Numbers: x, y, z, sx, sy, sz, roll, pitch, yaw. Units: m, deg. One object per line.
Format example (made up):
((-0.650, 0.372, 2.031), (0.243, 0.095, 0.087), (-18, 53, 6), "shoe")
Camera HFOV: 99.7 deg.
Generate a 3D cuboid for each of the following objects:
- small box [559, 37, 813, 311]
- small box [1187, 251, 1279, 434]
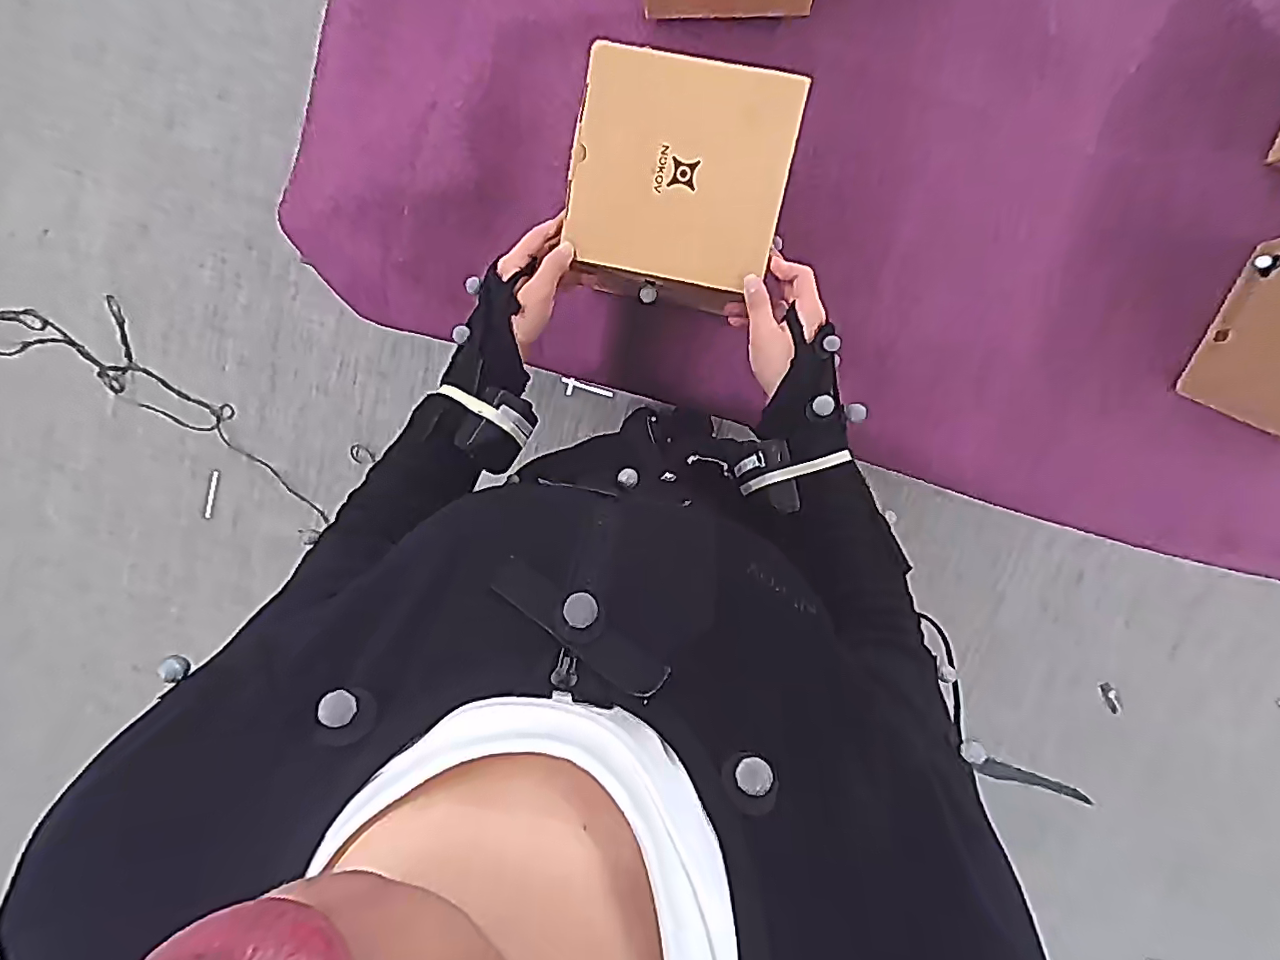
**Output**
((0.040, -0.263, 0.511), (0.179, 0.176, 0.168), (13, 101, 3), "small box")
((0.670, -0.124, 0.481), (0.179, 0.176, 0.168), (24, 99, 1), "small box")
